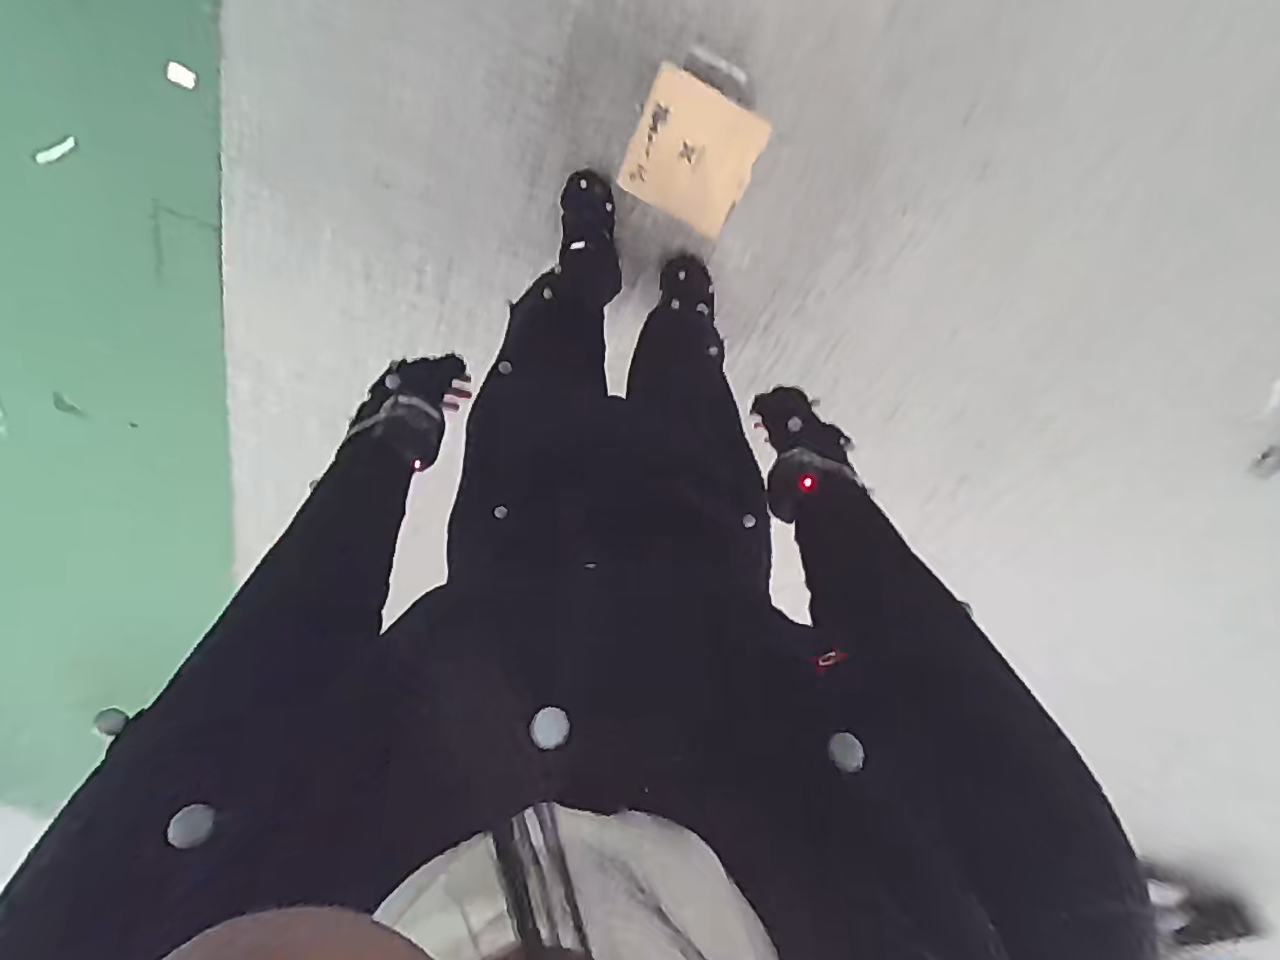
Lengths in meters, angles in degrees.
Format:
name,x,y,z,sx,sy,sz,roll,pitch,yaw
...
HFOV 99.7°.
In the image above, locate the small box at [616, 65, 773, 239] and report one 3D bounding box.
name,x,y,z,sx,sy,sz,roll,pitch,yaw
small box,0.084,-0.514,0.849,0.179,0.176,0.168,26,124,-11
